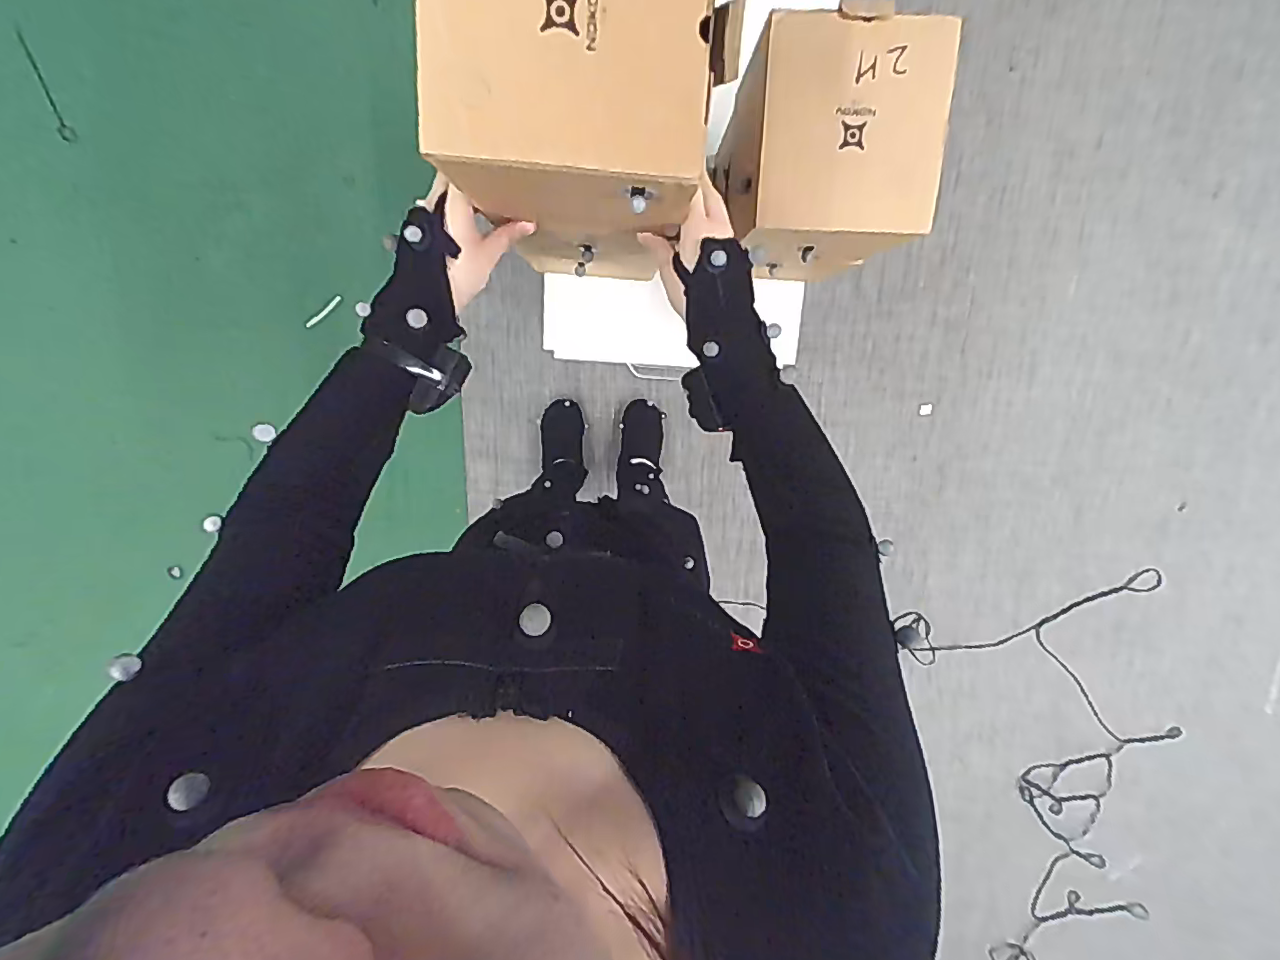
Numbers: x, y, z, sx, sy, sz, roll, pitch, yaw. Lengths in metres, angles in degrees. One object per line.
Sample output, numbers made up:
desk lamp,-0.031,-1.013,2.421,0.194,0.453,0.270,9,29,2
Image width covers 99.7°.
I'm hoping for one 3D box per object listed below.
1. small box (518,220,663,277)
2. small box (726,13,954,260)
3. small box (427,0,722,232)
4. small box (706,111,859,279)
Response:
small box,-0.058,-0.369,0.716,0.179,0.176,0.168,3,104,-4
small box,0.188,-0.335,0.565,0.168,0.176,0.179,1,104,-2
small box,-0.043,-0.292,0.399,0.179,0.176,0.168,3,103,-5
small box,0.189,-0.369,0.726,0.179,0.176,0.168,3,104,-3
